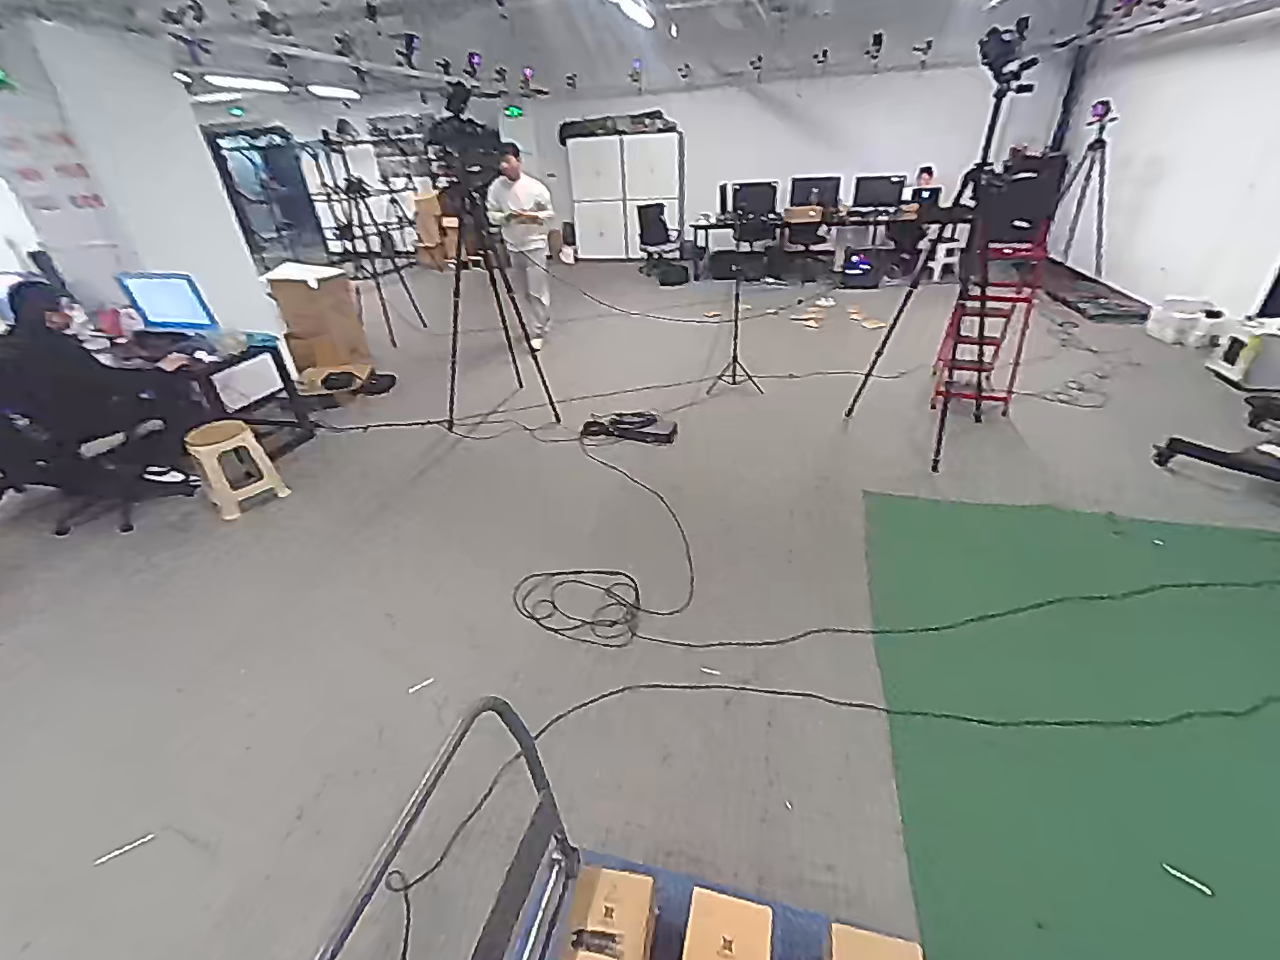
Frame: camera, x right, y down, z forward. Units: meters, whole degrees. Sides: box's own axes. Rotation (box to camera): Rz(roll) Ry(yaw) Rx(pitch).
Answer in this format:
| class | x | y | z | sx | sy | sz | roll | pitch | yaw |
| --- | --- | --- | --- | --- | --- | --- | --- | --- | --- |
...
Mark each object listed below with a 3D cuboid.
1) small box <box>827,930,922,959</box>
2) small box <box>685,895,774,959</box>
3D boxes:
| class | x | y | z | sx | sy | sz | roll | pitch | yaw |
| --- | --- | --- | --- | --- | --- | --- | --- | --- | --- |
| small box | 0.447 | 1.018 | 1.031 | 0.168 | 0.176 | 0.179 | 4 | 32 | 15 |
| small box | 0.176 | 1.000 | 1.098 | 0.168 | 0.176 | 0.179 | 5 | 34 | 15 |
